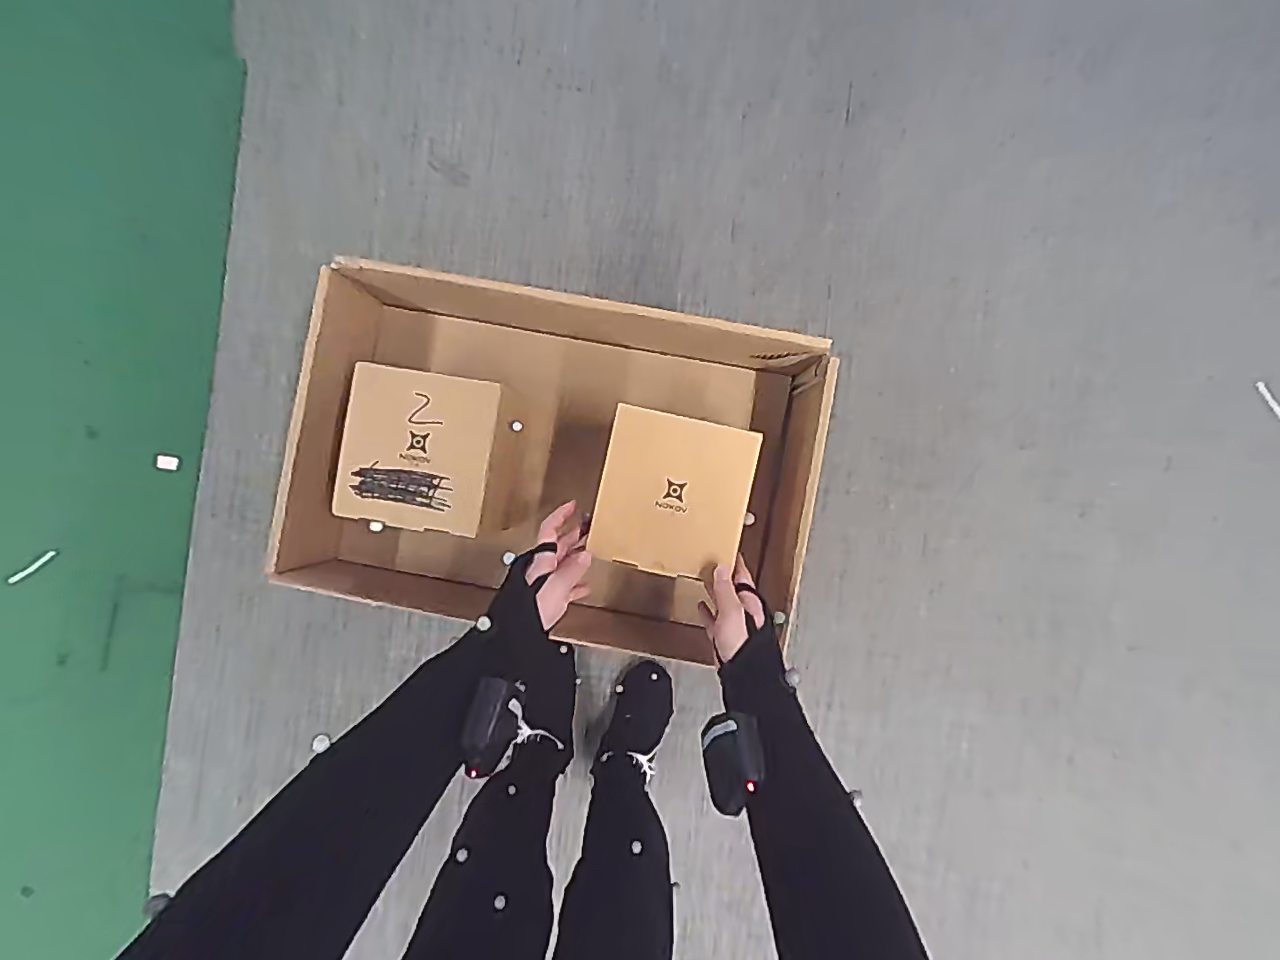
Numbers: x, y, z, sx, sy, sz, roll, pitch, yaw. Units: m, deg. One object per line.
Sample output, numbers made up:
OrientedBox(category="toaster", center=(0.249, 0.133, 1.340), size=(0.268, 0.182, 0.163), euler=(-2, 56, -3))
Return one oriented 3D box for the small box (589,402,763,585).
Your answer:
OrientedBox(category="small box", center=(0.040, 0.015, 0.675), size=(0.168, 0.176, 0.179), euler=(12, 90, 1))
